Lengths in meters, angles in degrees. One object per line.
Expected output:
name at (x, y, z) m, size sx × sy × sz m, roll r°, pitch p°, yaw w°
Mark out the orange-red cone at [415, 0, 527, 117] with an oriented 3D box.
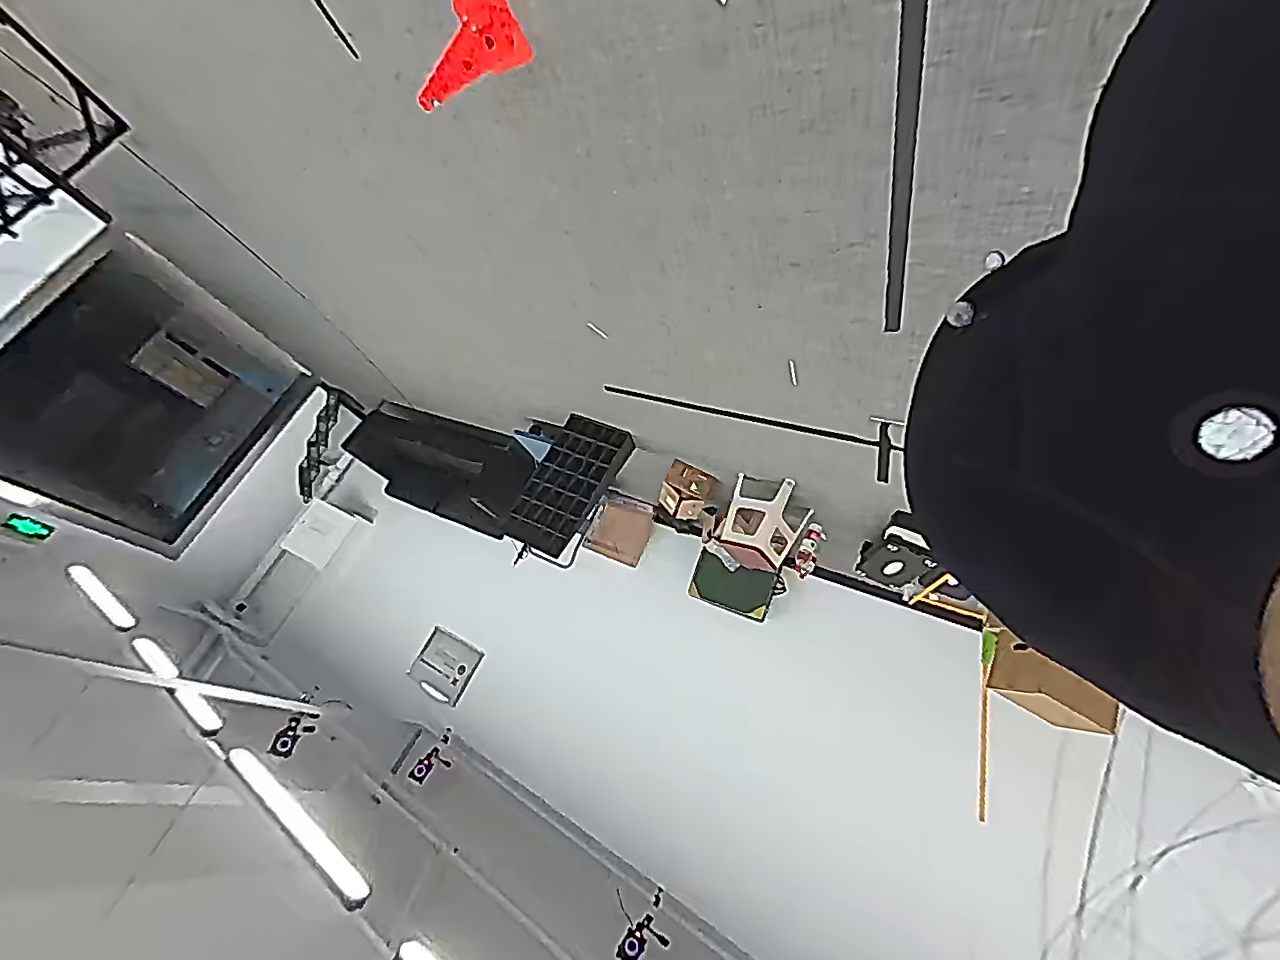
orange-red cone at (-0.514, -1.151, 1.520) m, size 0.198 × 0.360 × 0.199 m, roll 16°, pitch 159°, yaw 35°
